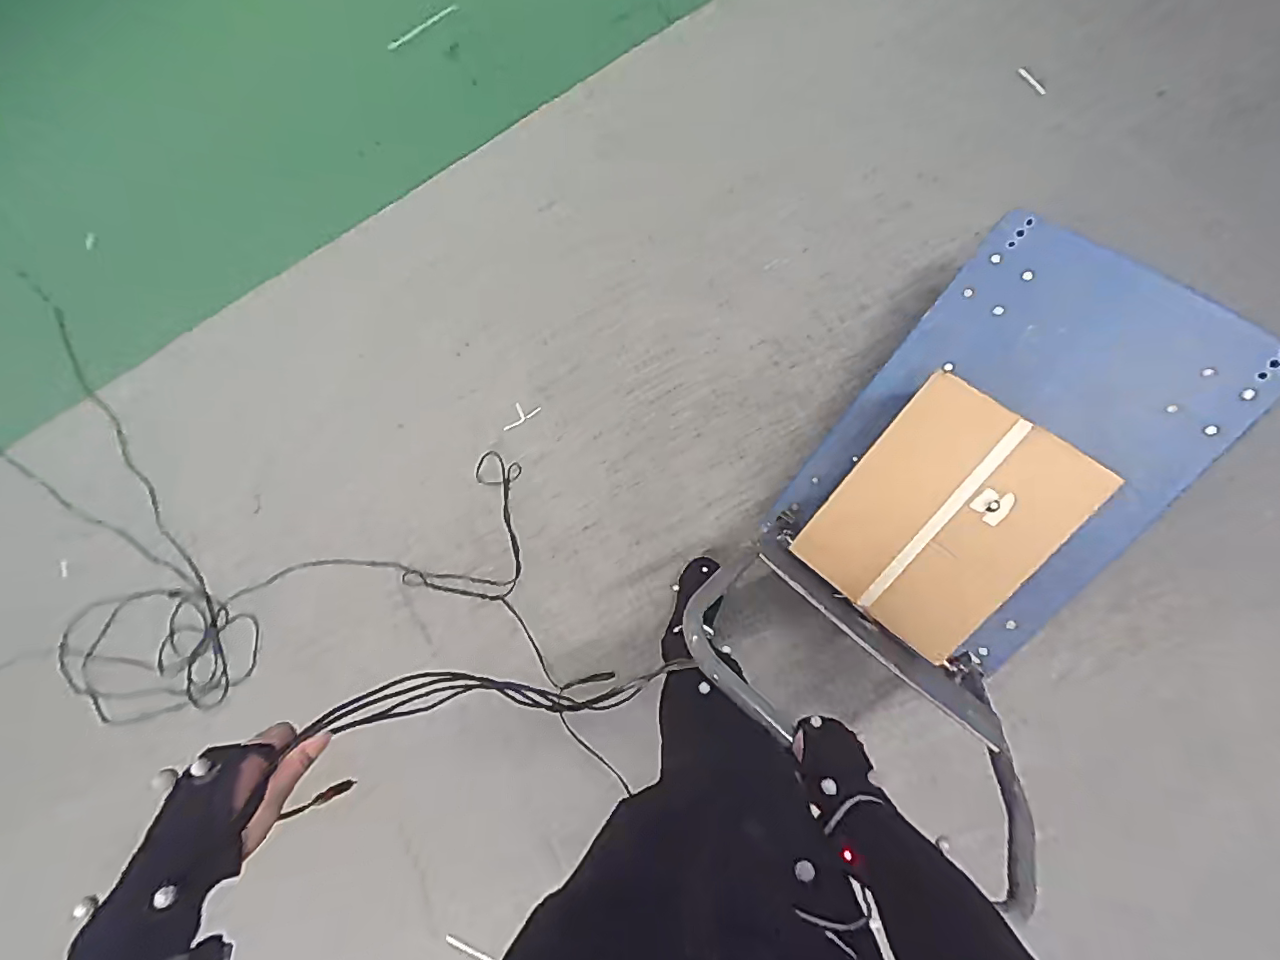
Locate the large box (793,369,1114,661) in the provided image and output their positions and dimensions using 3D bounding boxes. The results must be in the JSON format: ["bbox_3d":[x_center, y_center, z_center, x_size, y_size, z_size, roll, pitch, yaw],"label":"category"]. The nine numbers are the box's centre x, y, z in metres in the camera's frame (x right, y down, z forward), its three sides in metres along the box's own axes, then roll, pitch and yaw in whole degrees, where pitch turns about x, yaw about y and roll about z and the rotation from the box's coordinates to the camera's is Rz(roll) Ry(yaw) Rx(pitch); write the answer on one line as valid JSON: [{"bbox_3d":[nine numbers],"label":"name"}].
[{"bbox_3d":[0.558,0.061,1.046,0.320,0.320,0.408,40,105,17],"label":"large box"}]
